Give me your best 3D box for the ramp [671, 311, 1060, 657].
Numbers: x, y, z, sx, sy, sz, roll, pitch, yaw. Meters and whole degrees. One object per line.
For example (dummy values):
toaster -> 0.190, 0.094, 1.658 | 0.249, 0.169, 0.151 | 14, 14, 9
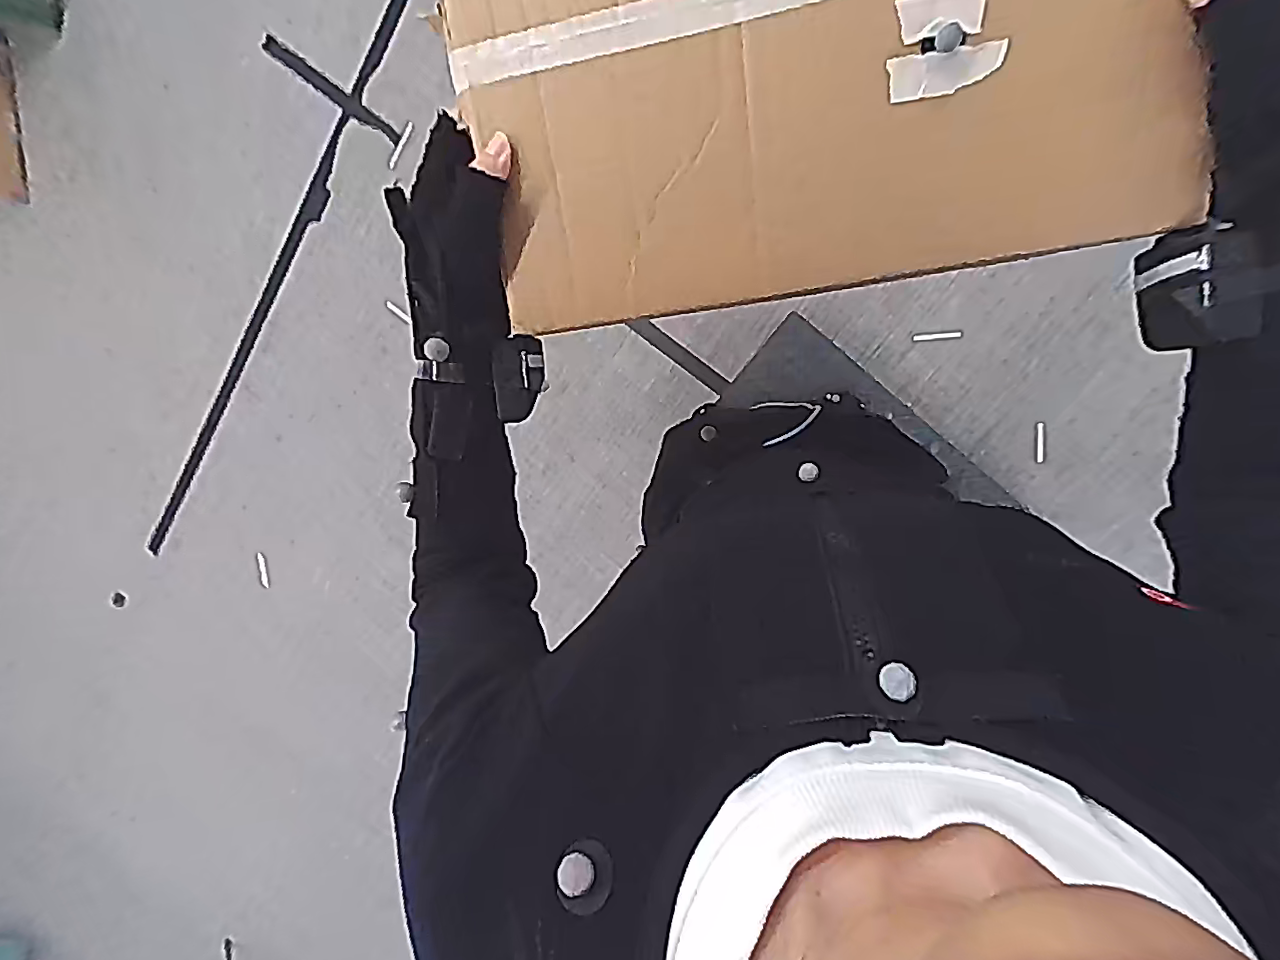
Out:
ramp -> 0.618, 0.049, 1.466 | 0.991, 0.206, 0.509 | 37, 103, 2

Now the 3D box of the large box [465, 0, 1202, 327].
large box -> 0.110, -0.319, 0.445 | 0.408, 0.320, 0.320 | -7, 107, 9
